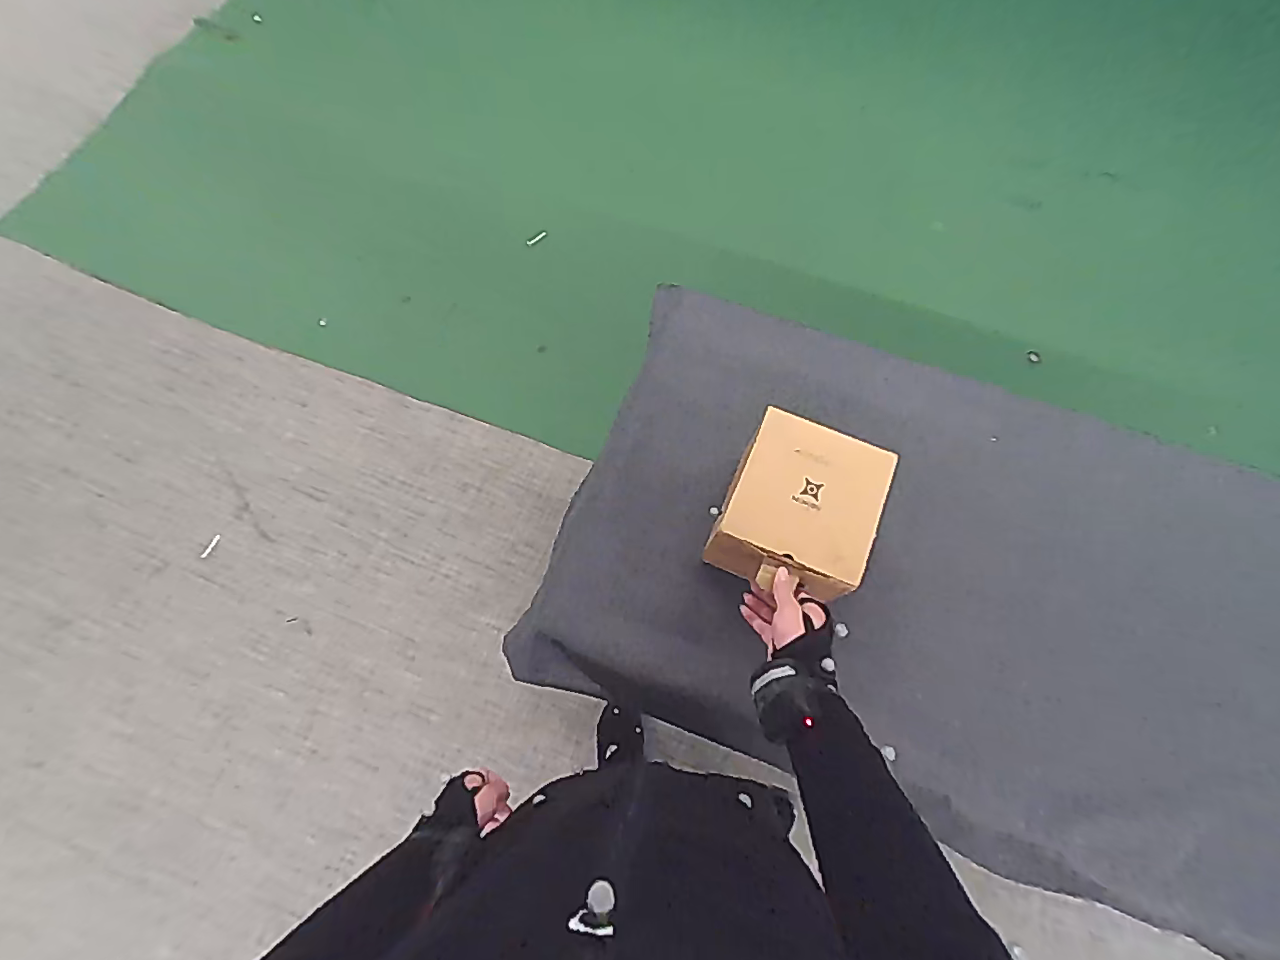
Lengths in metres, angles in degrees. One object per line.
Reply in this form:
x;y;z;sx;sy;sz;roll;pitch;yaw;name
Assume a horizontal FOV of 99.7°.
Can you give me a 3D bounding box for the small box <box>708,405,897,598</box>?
0.198;0.039;0.707;0.168;0.176;0.179;24;72;6;small box
